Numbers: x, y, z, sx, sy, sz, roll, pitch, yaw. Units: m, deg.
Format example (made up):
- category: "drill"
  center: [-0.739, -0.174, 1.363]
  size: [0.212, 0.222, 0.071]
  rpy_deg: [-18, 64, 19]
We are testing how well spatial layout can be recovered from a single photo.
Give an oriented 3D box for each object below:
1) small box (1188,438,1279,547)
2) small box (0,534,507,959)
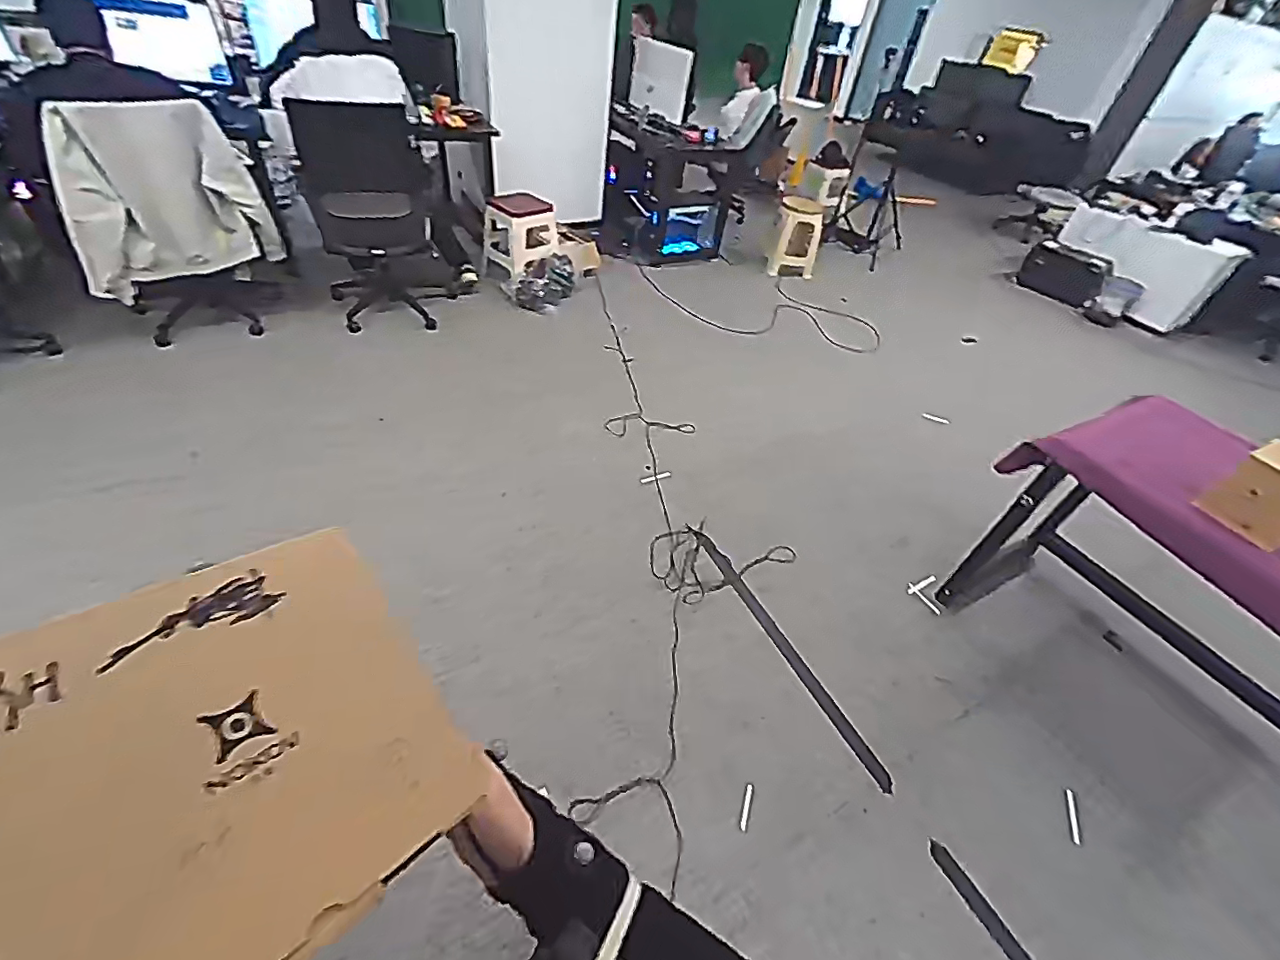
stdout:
- category: "small box"
  center: [1.453, 0.031, 1.259]
  size: [0.179, 0.176, 0.168]
  rpy_deg: [-15, 48, -25]
- category: "small box"
  center: [-0.210, 0.163, 0.305]
  size: [0.168, 0.176, 0.179]
  rpy_deg: [-23, 75, -46]
